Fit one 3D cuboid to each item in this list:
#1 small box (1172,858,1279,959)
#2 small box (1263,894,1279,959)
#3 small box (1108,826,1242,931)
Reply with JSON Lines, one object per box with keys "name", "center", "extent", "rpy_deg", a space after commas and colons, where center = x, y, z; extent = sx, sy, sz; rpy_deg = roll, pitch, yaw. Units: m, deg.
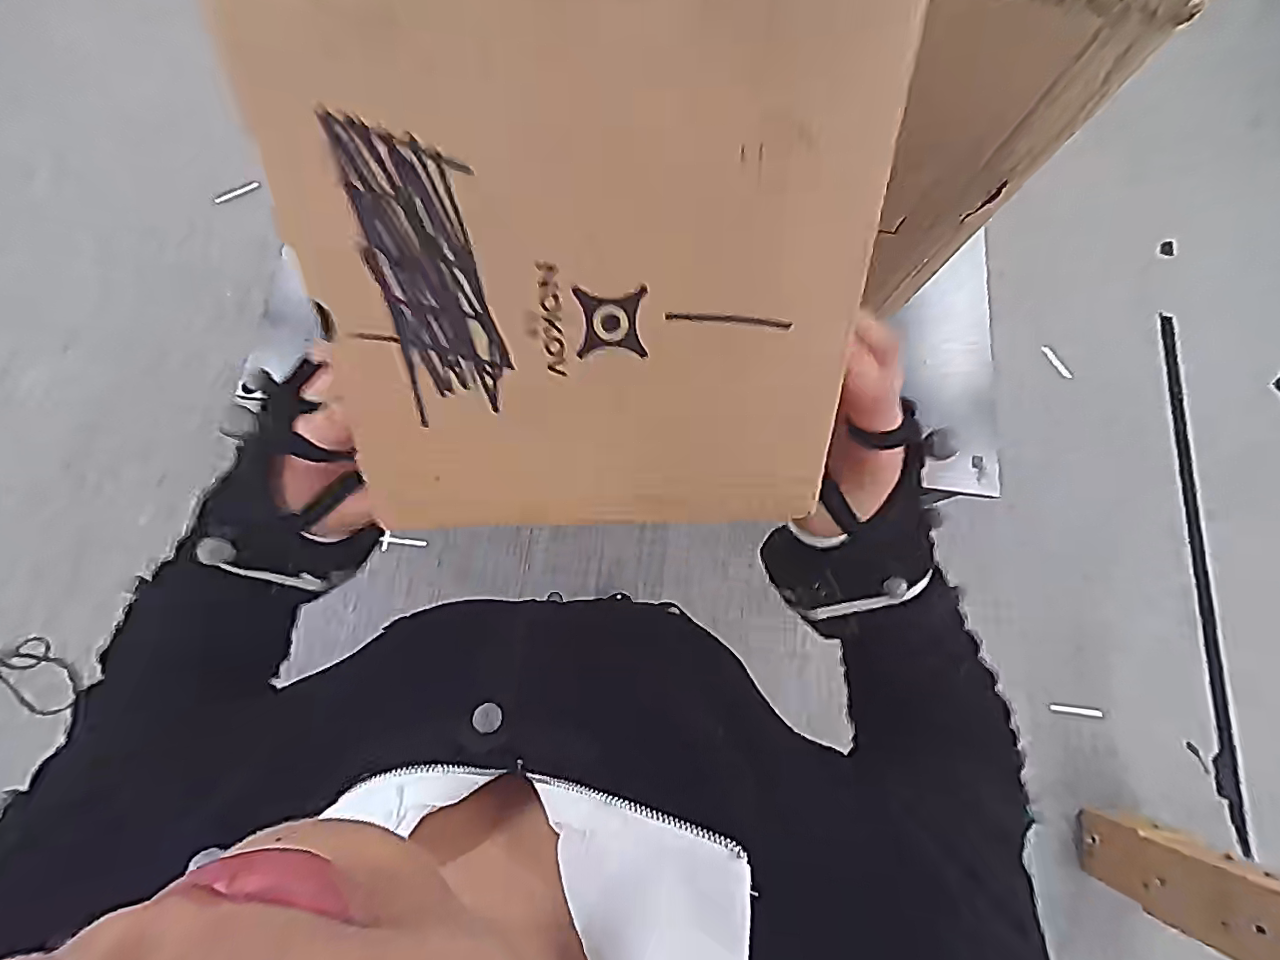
{"name": "small box", "center": [1.299, 0.934, 1.148], "extent": [0.179, 0.176, 0.168], "rpy_deg": [8, 75, -3]}
{"name": "small box", "center": [1.311, 0.895, 0.989], "extent": [0.179, 0.176, 0.168], "rpy_deg": [9, 76, -2]}
{"name": "small box", "center": [1.295, 0.966, 1.310], "extent": [0.179, 0.176, 0.168], "rpy_deg": [7, 75, -2]}
